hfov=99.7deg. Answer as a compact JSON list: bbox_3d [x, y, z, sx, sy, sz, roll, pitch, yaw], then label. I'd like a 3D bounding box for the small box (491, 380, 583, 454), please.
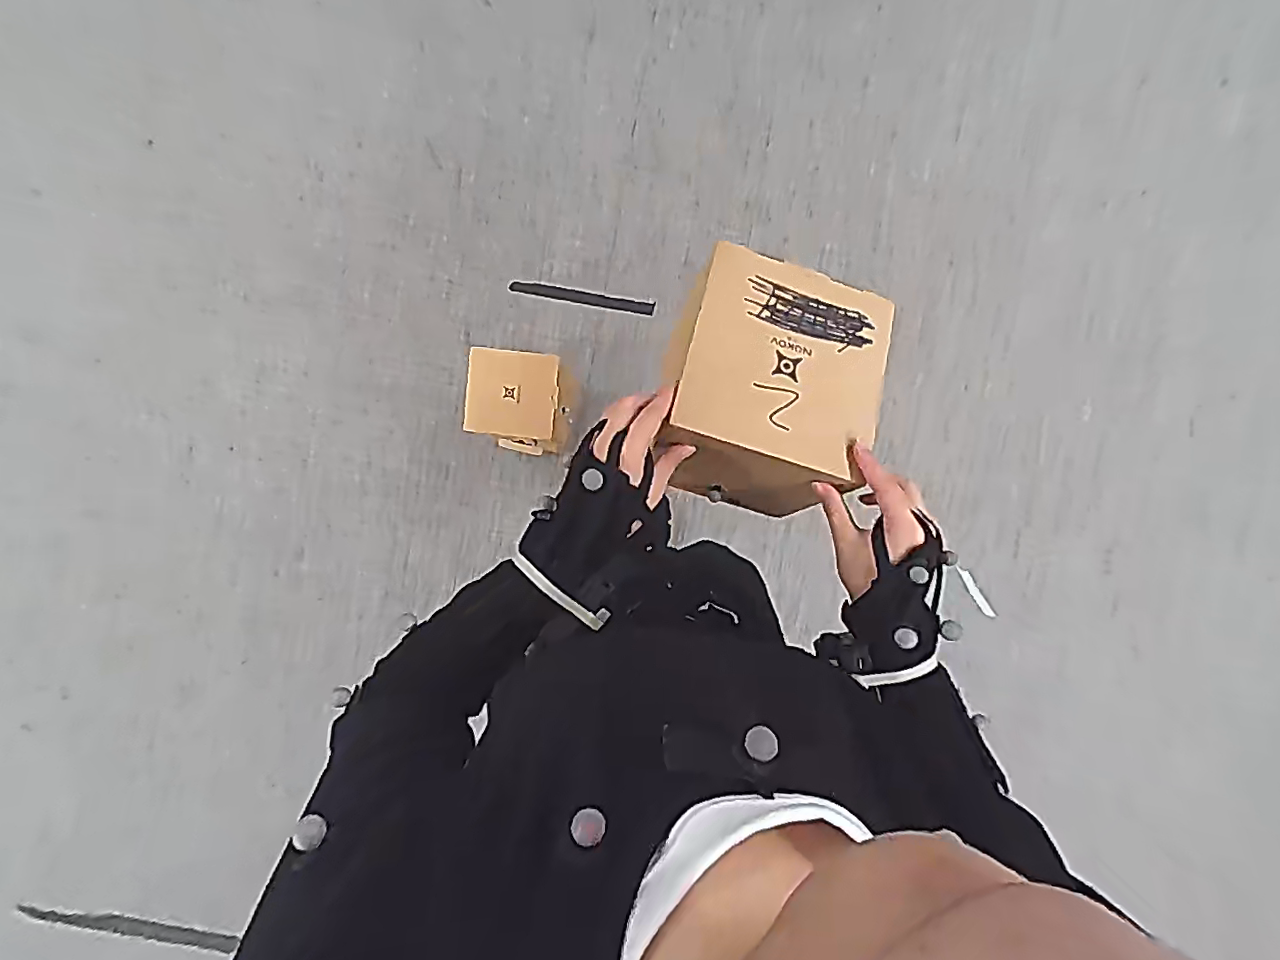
[{"bbox_3d":[-0.236,-0.162,1.284,0.168,0.176,0.179,13,92,-1],"label":"small box"}]

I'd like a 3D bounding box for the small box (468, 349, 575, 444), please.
[{"bbox_3d":[-0.238,-0.164,1.121,0.179,0.176,0.168,6,92,-1],"label":"small box"}]
